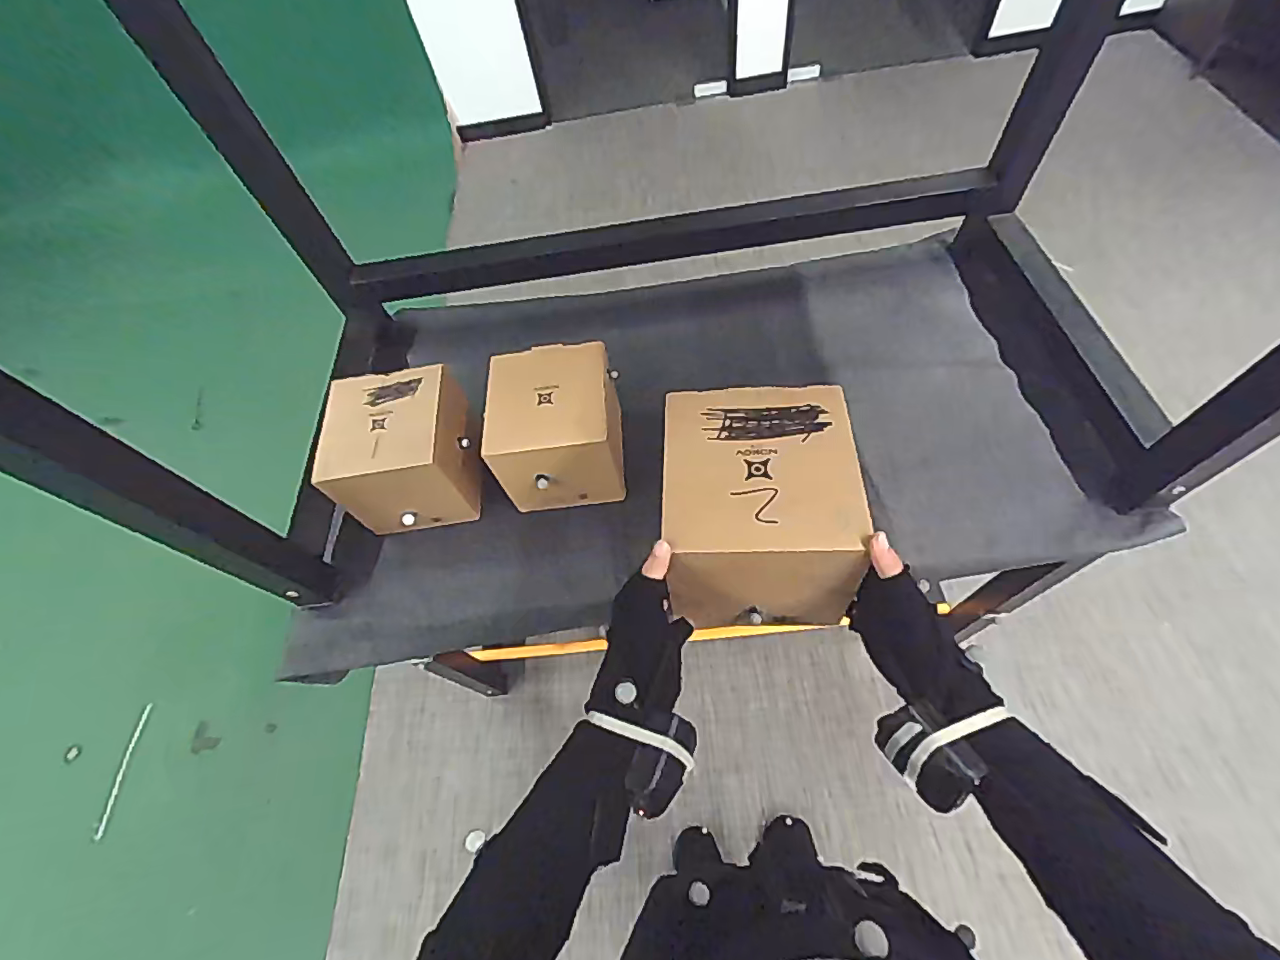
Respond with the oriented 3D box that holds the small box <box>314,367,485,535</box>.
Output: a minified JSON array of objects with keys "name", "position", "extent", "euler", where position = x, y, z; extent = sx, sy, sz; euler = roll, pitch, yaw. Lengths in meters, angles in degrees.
[{"name":"small box","position":[-0.341,-0.038,0.807],"extent":[0.168,0.176,0.179],"euler":[-9,59,3]}]

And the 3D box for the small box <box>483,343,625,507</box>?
[{"name":"small box","position":[-0.116,-0.071,0.798],"extent":[0.168,0.176,0.179],"euler":[-7,58,4]}]
